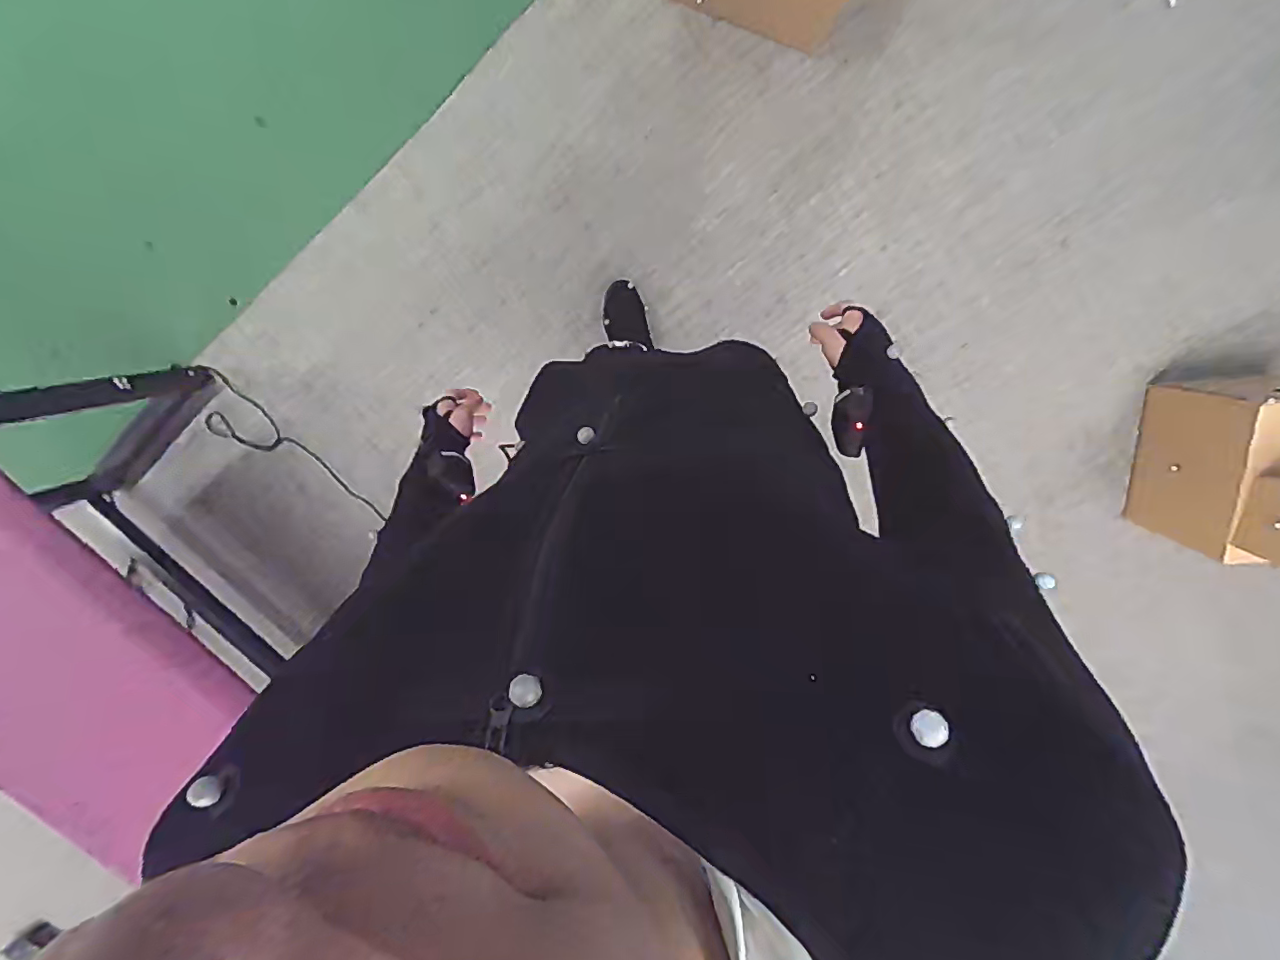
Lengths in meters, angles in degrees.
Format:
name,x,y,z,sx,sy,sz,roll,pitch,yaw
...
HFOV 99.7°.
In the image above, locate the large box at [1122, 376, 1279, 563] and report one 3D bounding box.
name,x,y,z,sx,sy,sz,roll,pitch,yaw
large box,1.546,-0.040,1.400,0.320,0.320,0.408,-6,106,4
